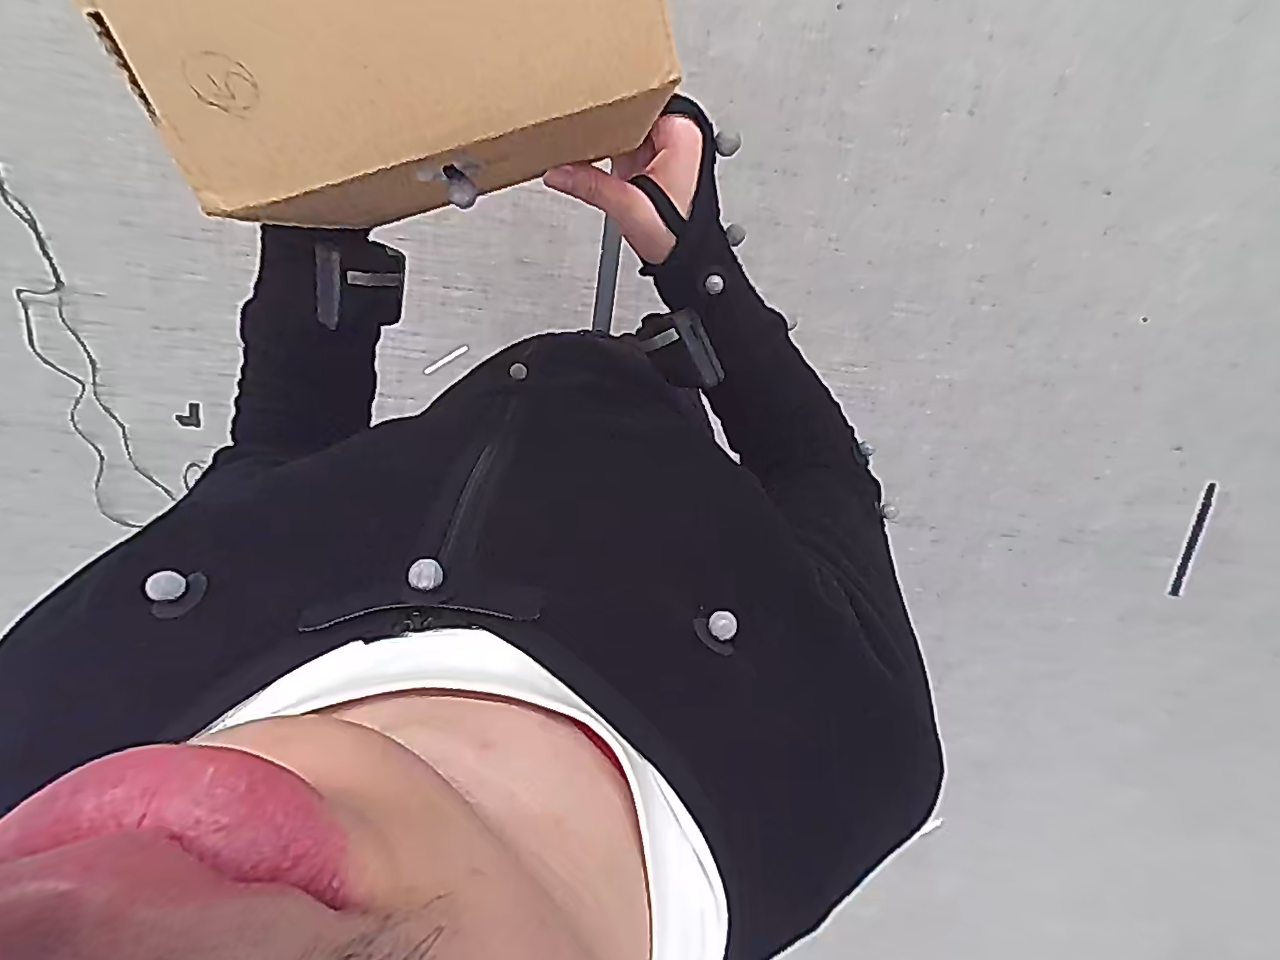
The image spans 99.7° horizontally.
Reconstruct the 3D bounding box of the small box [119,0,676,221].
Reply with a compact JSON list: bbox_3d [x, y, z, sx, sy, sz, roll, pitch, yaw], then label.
[{"bbox_3d":[-0.096,-0.222,0.238,0.179,0.176,0.168,-16,116,0],"label":"small box"}]
